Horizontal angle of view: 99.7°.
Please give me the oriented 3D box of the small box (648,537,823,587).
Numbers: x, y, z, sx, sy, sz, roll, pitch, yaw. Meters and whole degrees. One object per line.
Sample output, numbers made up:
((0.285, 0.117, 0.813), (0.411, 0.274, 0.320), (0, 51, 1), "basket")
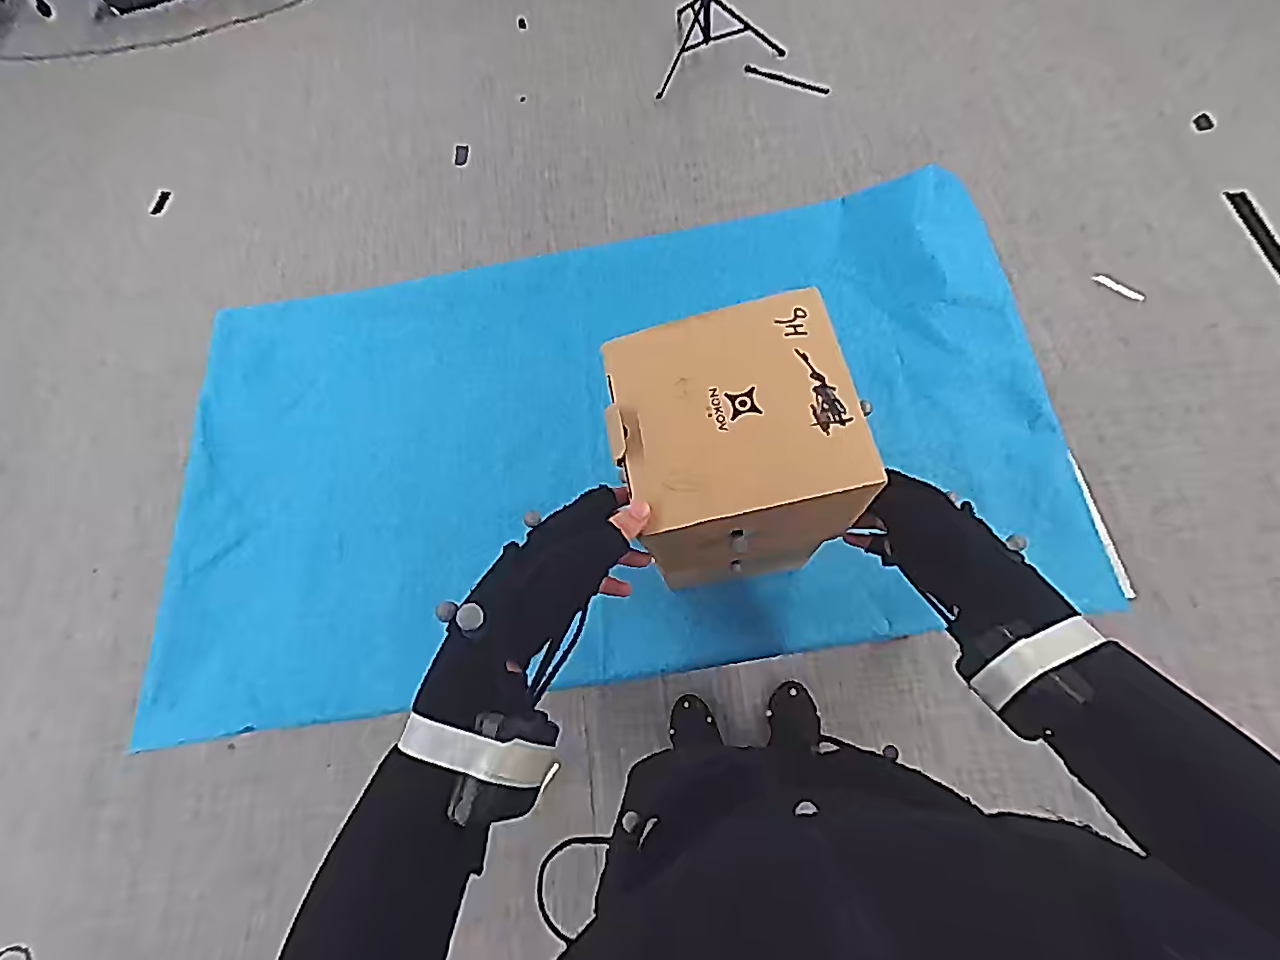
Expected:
((0.100, 0.024, 0.633), (0.179, 0.176, 0.168), (-10, 69, 5), "small box")

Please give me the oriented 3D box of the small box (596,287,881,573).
((0.079, -0.027, 0.472), (0.179, 0.176, 0.168), (-16, 69, 6), "small box")
